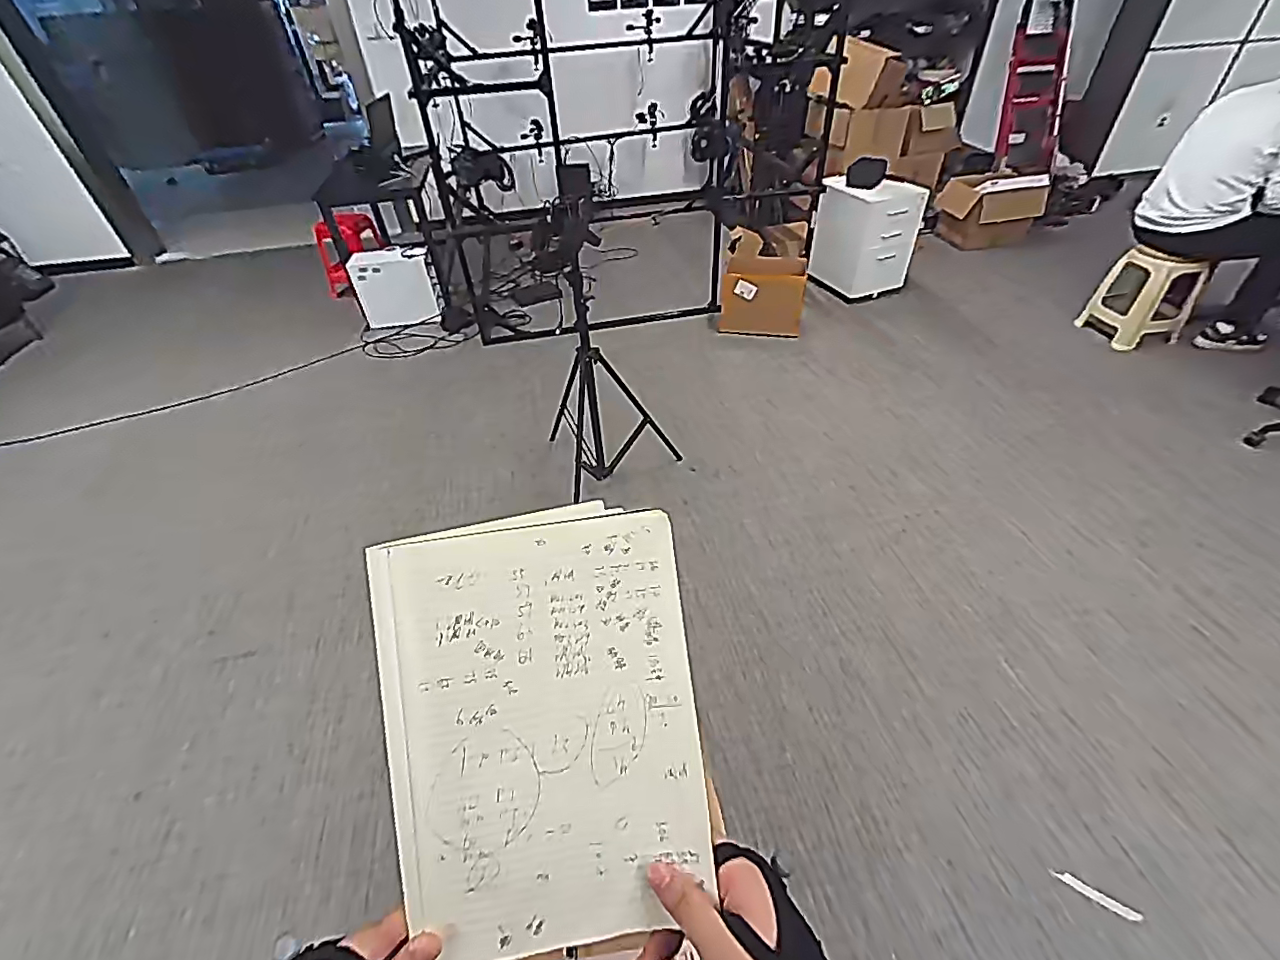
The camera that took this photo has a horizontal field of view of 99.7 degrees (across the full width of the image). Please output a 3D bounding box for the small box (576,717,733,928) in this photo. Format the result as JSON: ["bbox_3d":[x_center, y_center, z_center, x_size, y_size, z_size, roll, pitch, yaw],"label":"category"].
[{"bbox_3d":[0.009,0.444,0.706,0.168,0.176,0.179,-8,43,-8],"label":"small box"}]

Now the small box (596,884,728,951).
[{"bbox_3d":[0.016,0.570,0.810,0.179,0.176,0.168,-10,43,-9],"label":"small box"}]
